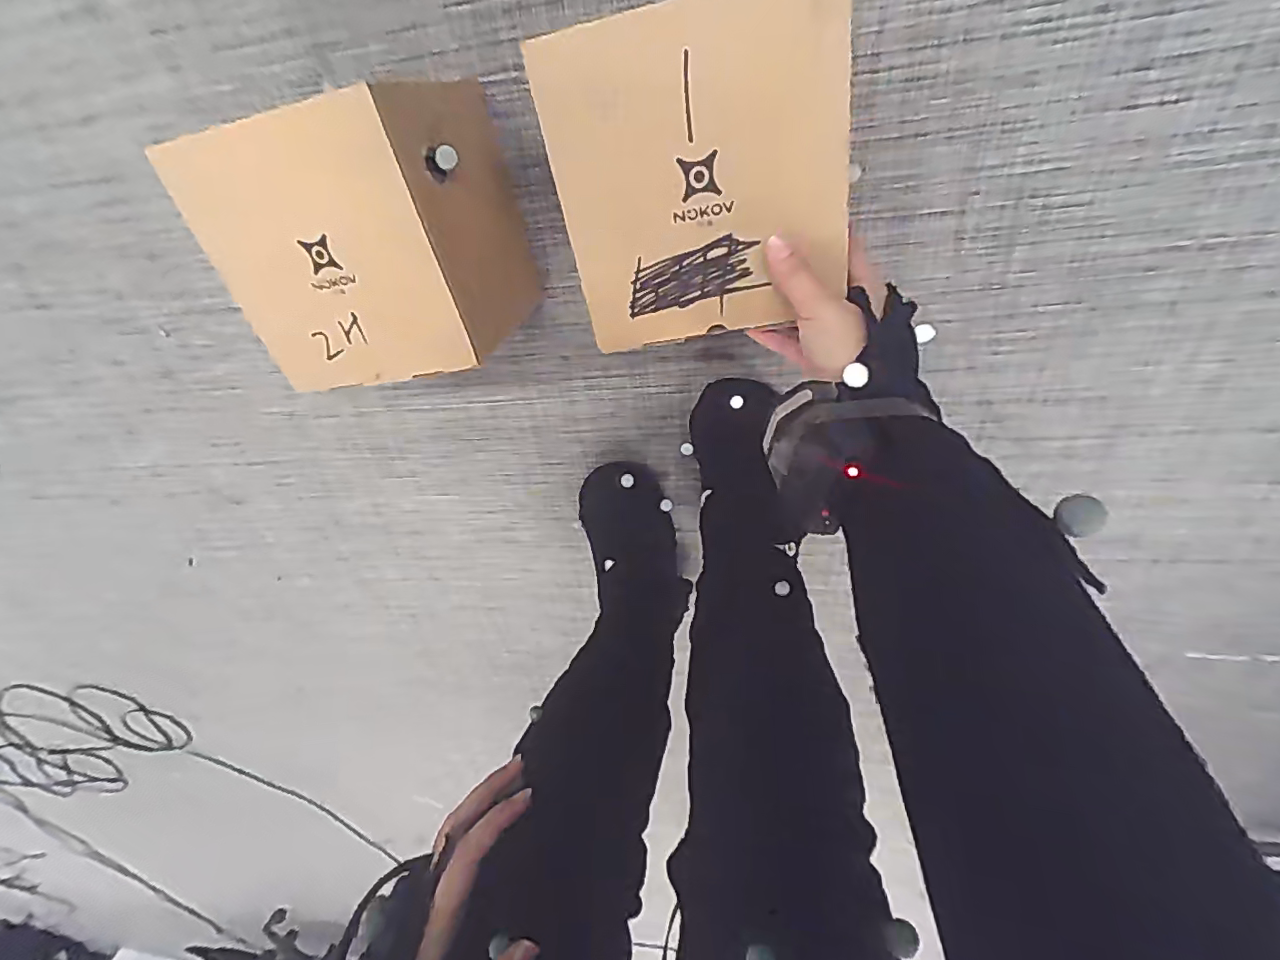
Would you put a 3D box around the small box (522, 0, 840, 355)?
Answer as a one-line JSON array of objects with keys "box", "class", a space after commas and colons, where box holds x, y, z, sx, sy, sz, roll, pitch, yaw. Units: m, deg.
[{"box": [0.041, -0.211, 0.382, 0.168, 0.176, 0.179, -6, 124, 12], "class": "small box"}]

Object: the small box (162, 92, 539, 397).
[{"box": [-0.201, -0.190, 0.437, 0.168, 0.176, 0.179, -5, 125, 14], "class": "small box"}]
